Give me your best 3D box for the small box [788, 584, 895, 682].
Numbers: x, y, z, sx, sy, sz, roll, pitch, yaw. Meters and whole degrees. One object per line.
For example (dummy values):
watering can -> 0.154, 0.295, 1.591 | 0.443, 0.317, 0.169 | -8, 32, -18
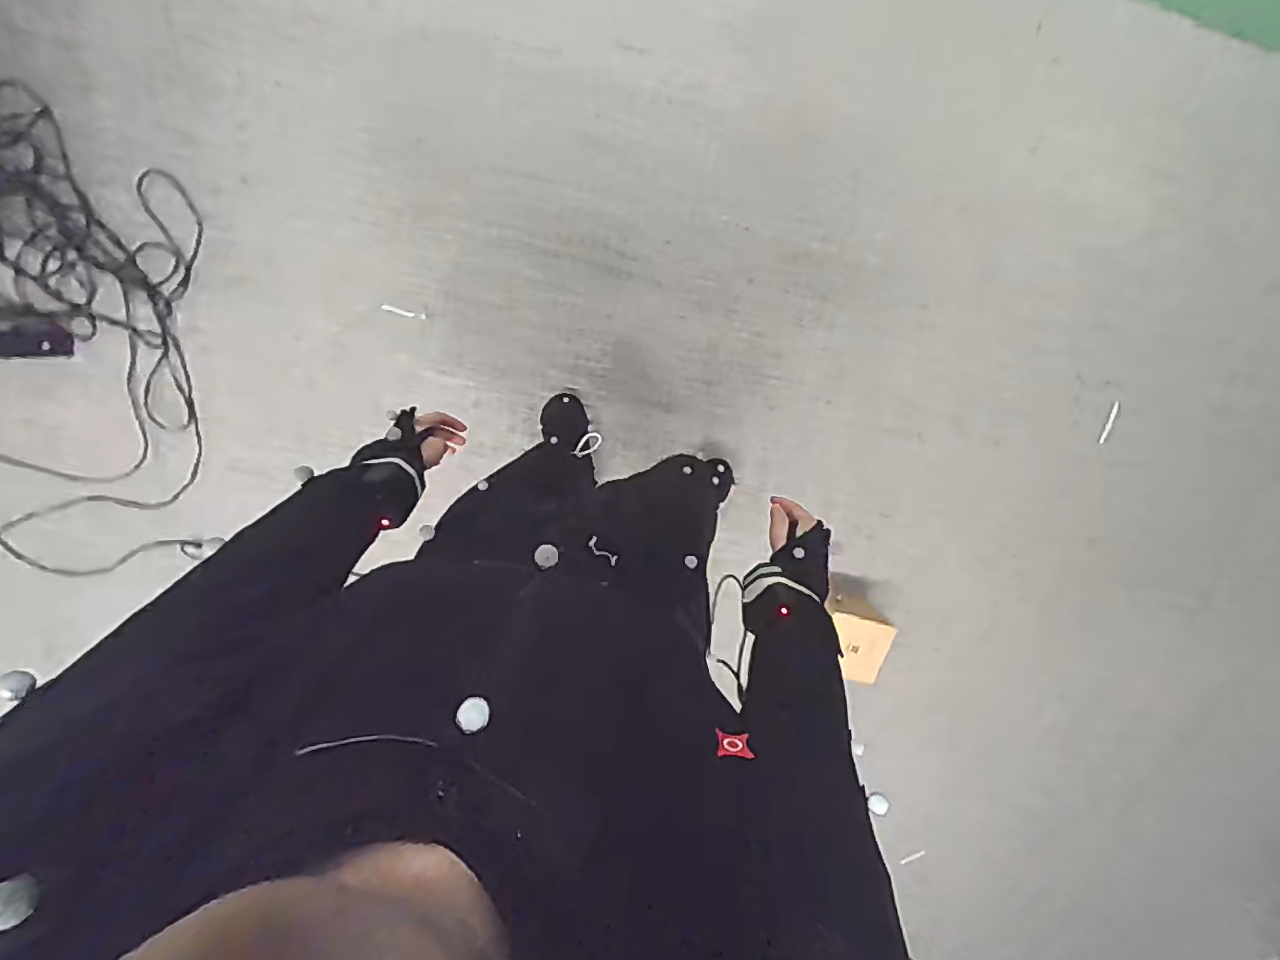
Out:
small box -> 0.508, 0.387, 1.394 | 0.179, 0.176, 0.168 | 16, 104, -9
